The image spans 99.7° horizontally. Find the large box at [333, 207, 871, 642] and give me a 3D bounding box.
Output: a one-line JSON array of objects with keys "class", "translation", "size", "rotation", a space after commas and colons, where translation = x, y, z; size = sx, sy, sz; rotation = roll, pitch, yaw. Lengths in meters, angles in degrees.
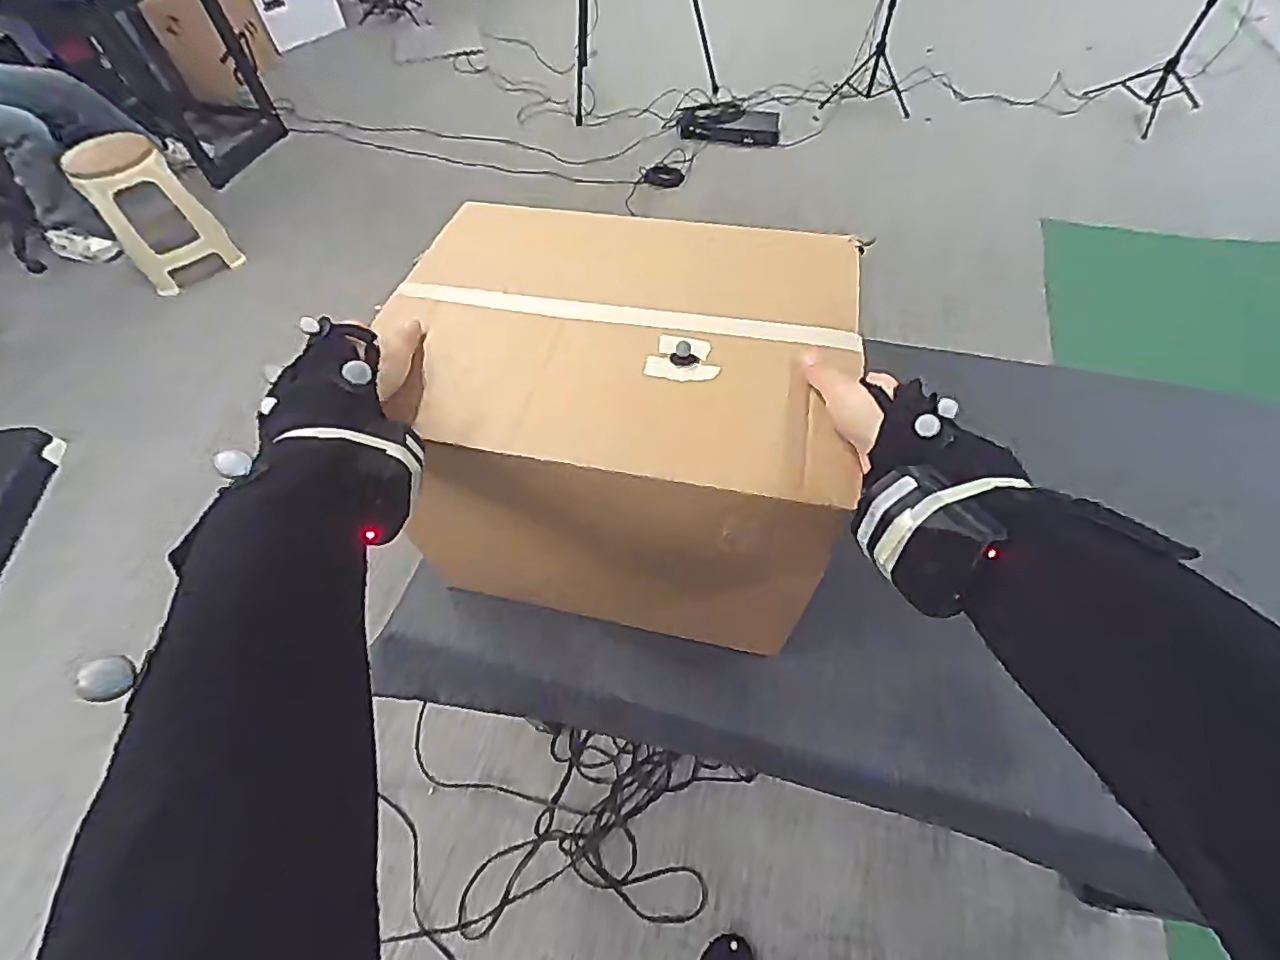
[{"class": "large box", "translation": [-0.009, -0.053, 0.587], "size": [0.408, 0.320, 0.320], "rotation": [10, 57, 8]}]
